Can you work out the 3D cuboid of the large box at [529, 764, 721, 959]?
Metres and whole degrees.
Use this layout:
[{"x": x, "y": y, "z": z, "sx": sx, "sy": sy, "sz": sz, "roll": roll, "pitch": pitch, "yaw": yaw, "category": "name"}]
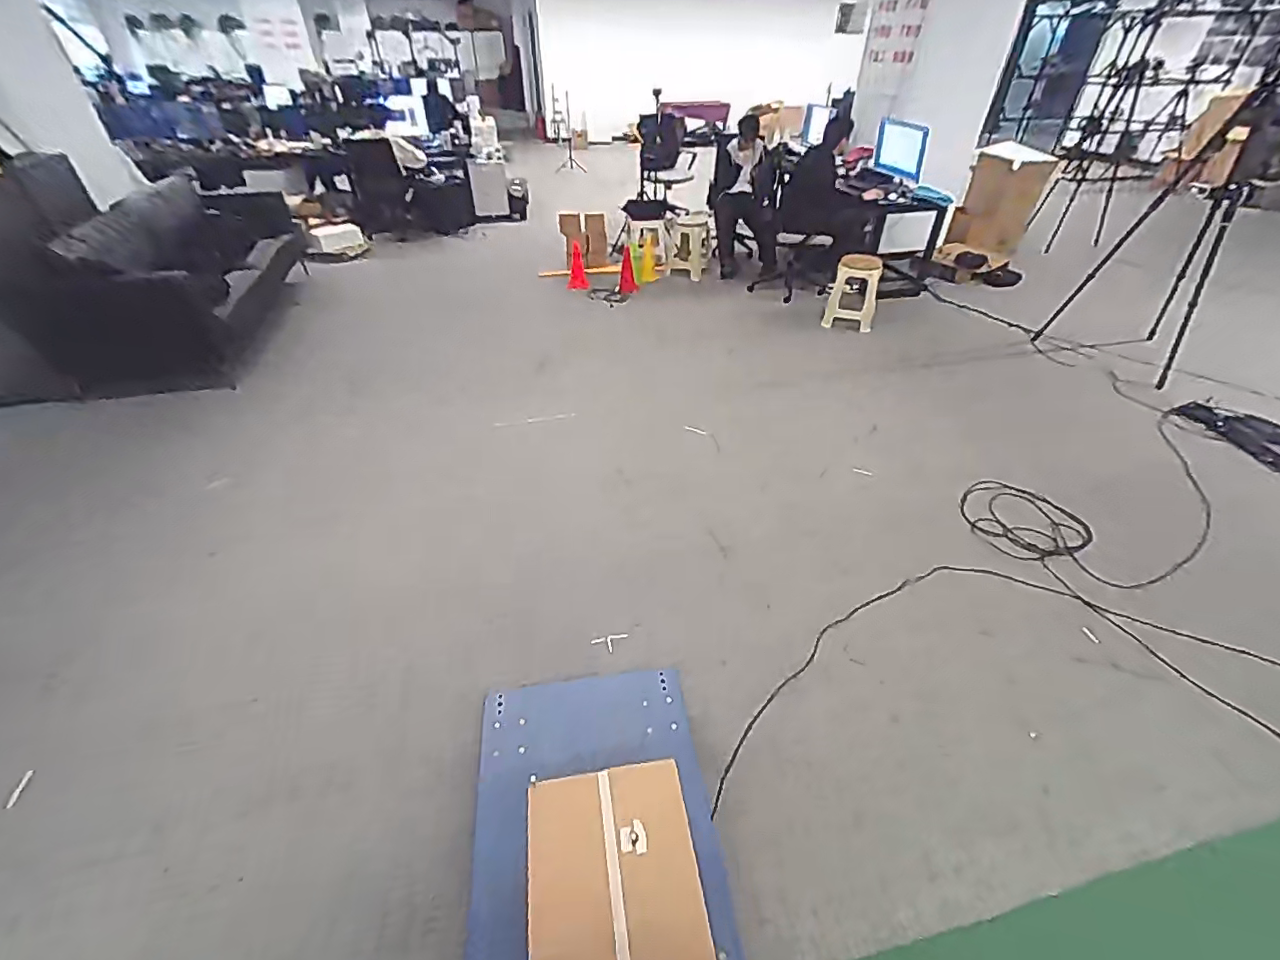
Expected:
[{"x": -0.040, "y": 0.854, "z": 1.062, "sx": 0.320, "sy": 0.320, "sz": 0.408, "roll": -5, "pitch": 38, "yaw": -8, "category": "large box"}]
